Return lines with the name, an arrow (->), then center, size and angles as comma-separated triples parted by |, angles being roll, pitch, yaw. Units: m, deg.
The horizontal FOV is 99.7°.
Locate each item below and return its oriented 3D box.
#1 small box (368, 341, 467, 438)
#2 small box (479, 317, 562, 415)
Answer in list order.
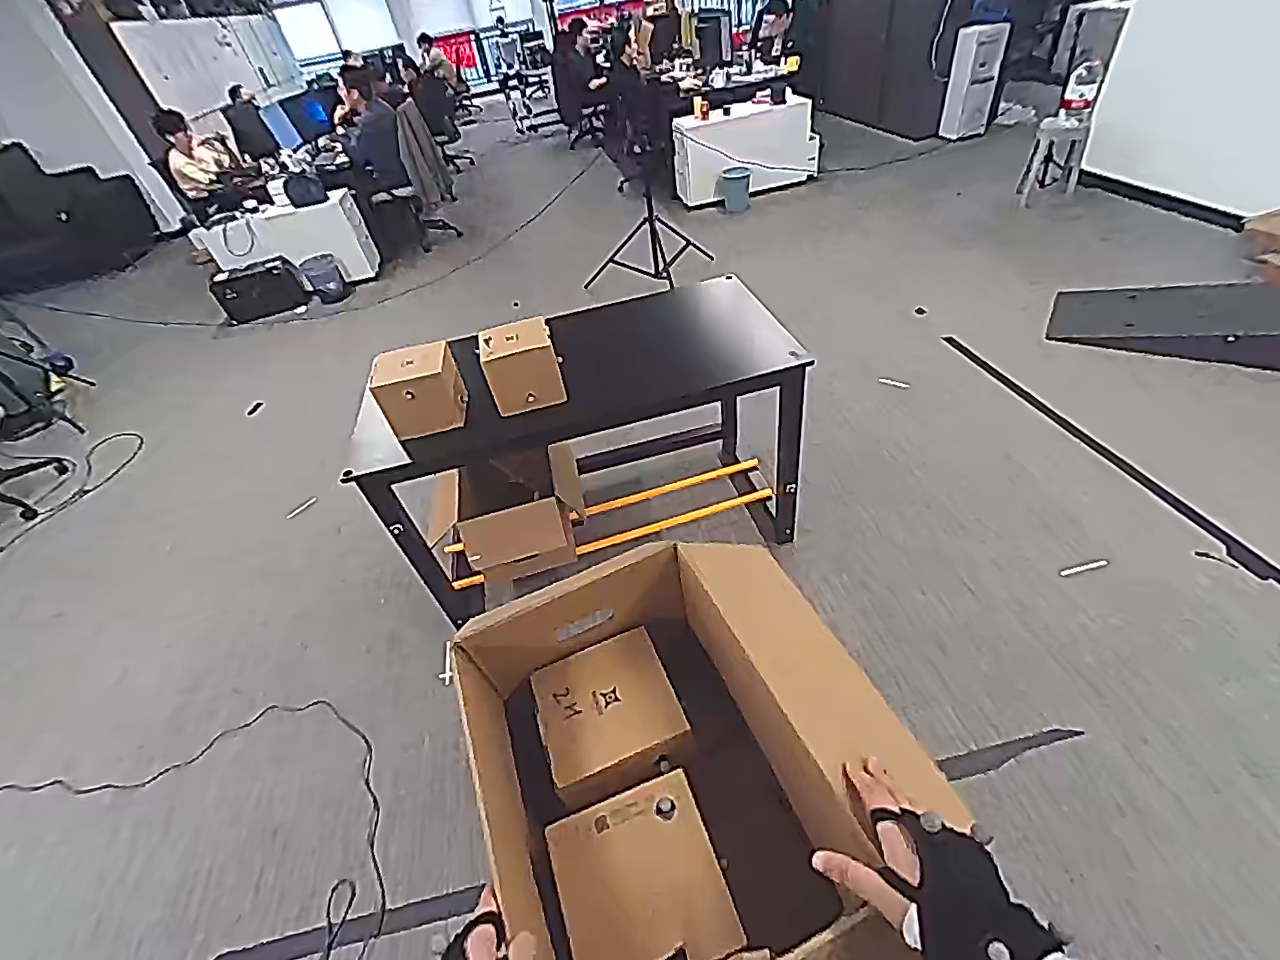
small box -> -0.559, -0.228, 1.380 | 0.179, 0.176, 0.168 | -13, 44, -4
small box -> -0.304, -0.292, 1.396 | 0.179, 0.176, 0.168 | -15, 42, -5
